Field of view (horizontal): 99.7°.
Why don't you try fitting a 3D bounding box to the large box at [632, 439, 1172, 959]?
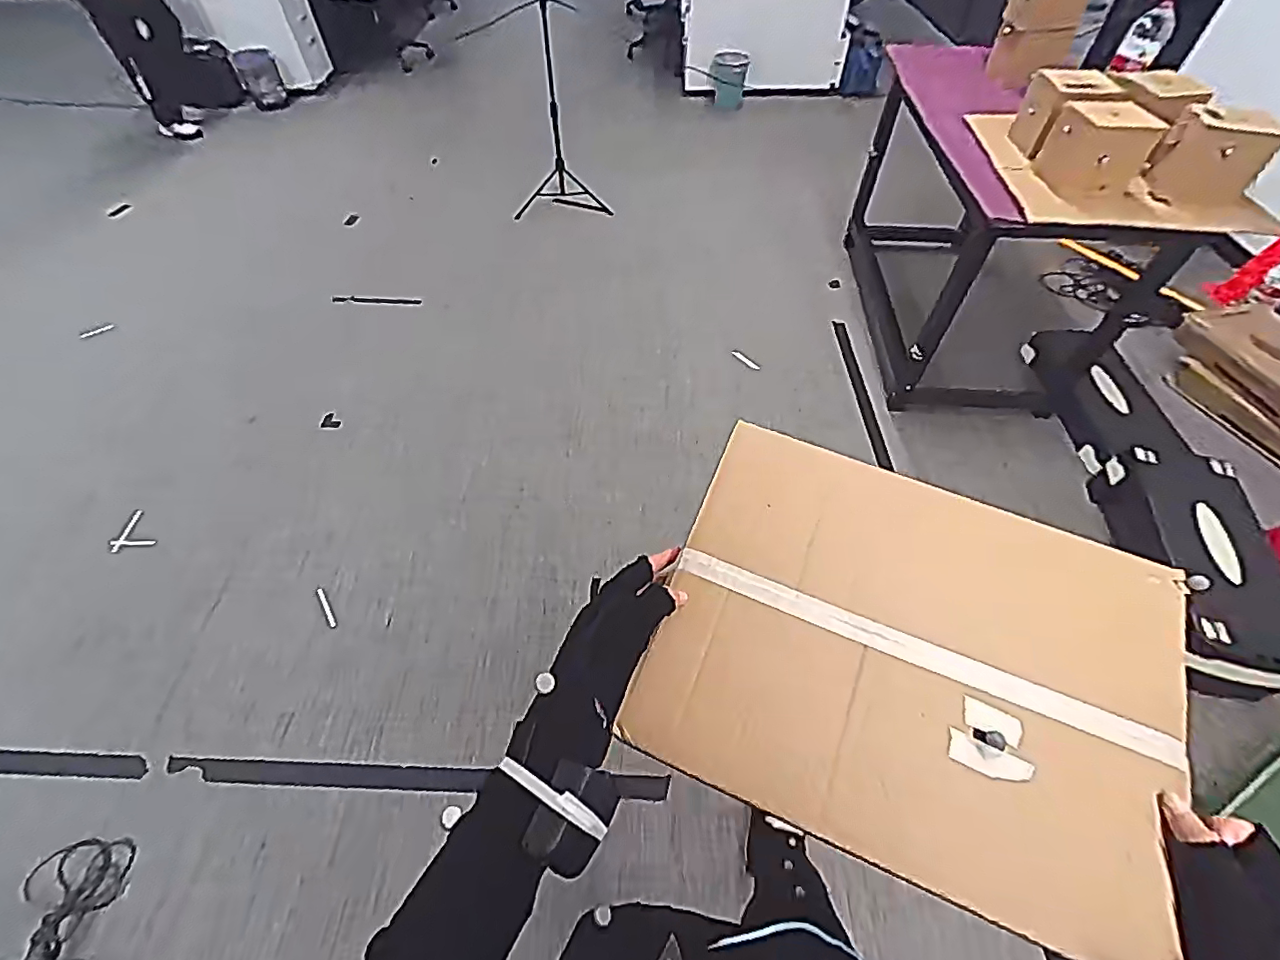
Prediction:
[{"bbox_3d":[0.231,0.212,0.594,0.408,0.320,0.320,21,67,11],"label":"large box"}]
